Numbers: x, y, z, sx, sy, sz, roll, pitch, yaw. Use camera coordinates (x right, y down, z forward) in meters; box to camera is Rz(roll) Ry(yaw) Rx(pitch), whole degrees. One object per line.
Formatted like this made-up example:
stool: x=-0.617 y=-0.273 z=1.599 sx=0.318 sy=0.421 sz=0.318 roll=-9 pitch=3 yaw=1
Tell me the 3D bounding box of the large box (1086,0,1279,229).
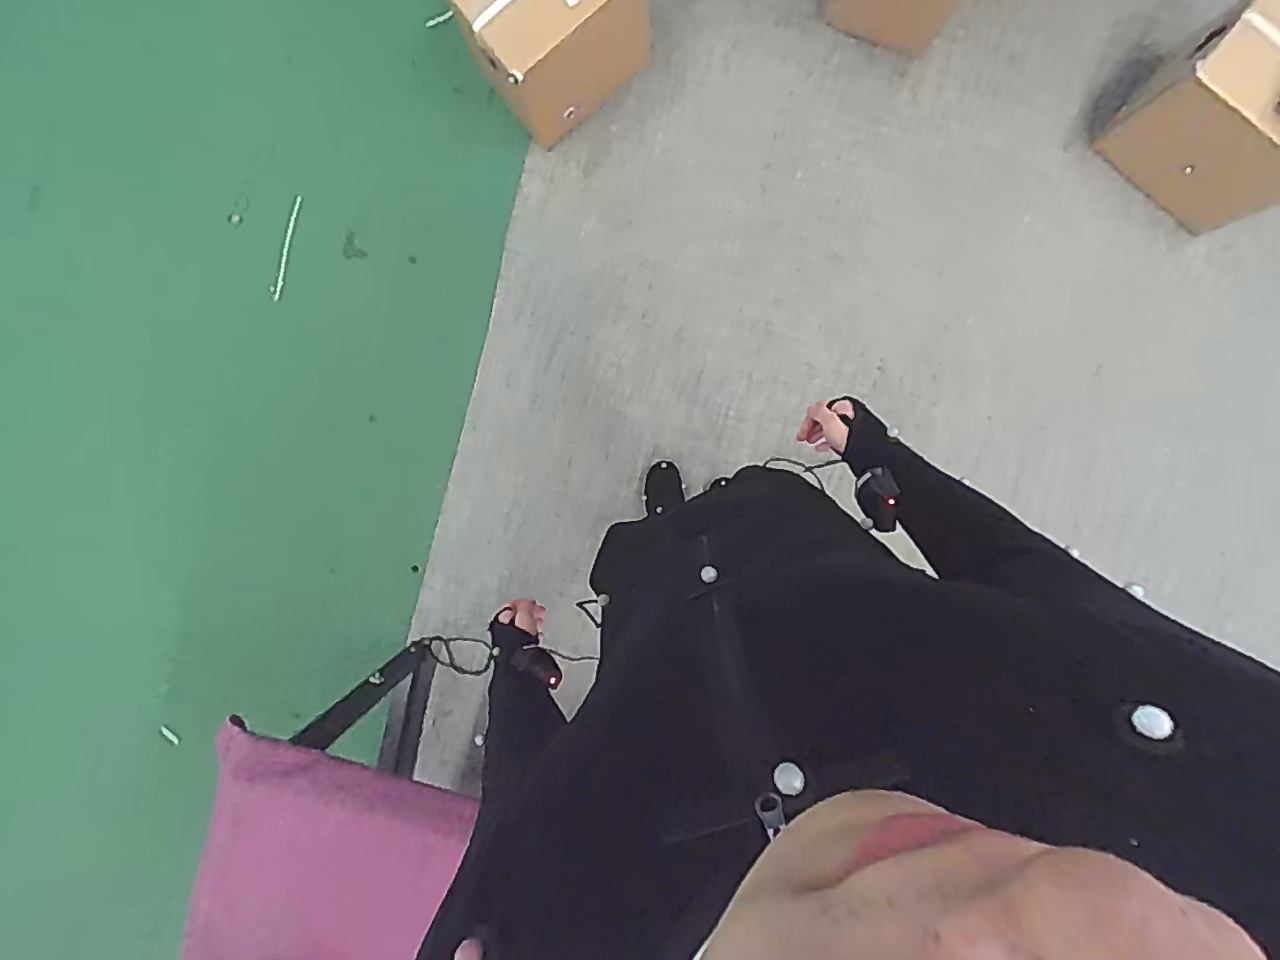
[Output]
large box: x=1.485 y=-0.923 z=1.354 sx=0.408 sy=0.320 sz=0.320 roll=39 pitch=94 yaw=0
